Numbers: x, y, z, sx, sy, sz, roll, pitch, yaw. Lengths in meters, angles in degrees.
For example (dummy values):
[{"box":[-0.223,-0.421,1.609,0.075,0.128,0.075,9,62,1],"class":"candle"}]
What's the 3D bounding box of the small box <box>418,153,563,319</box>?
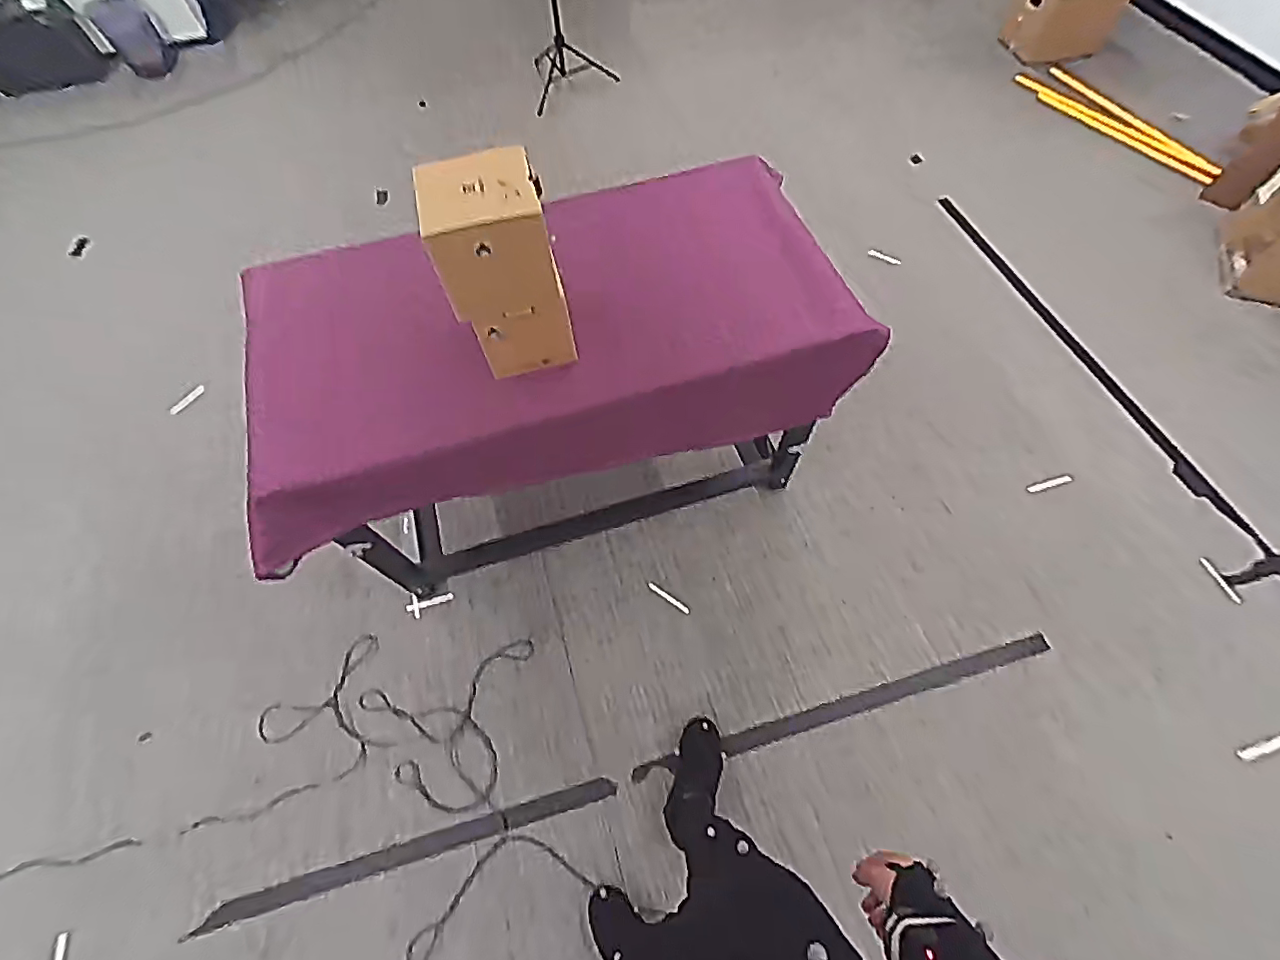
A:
[{"box":[-0.235,-0.384,0.871,0.179,0.176,0.168,-14,63,-5],"class":"small box"}]
